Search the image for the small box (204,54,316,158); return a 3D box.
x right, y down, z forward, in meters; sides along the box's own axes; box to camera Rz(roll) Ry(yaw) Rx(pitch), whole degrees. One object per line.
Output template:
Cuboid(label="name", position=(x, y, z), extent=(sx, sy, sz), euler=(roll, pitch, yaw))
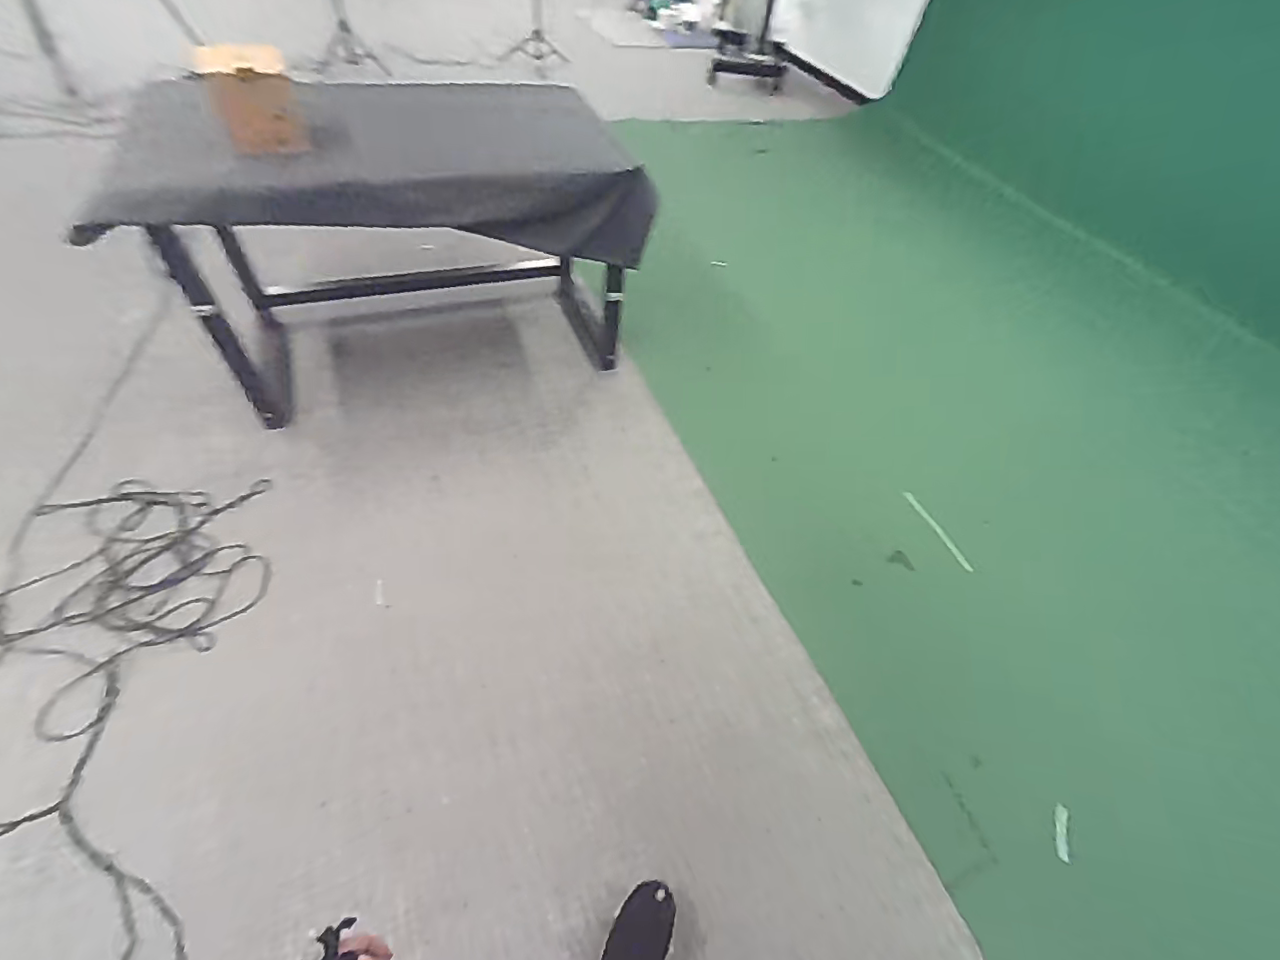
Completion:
Cuboid(label="small box", position=(-0.896, -0.884, 1.285), extent=(0.168, 0.176, 0.179), euler=(-19, 55, -24))
